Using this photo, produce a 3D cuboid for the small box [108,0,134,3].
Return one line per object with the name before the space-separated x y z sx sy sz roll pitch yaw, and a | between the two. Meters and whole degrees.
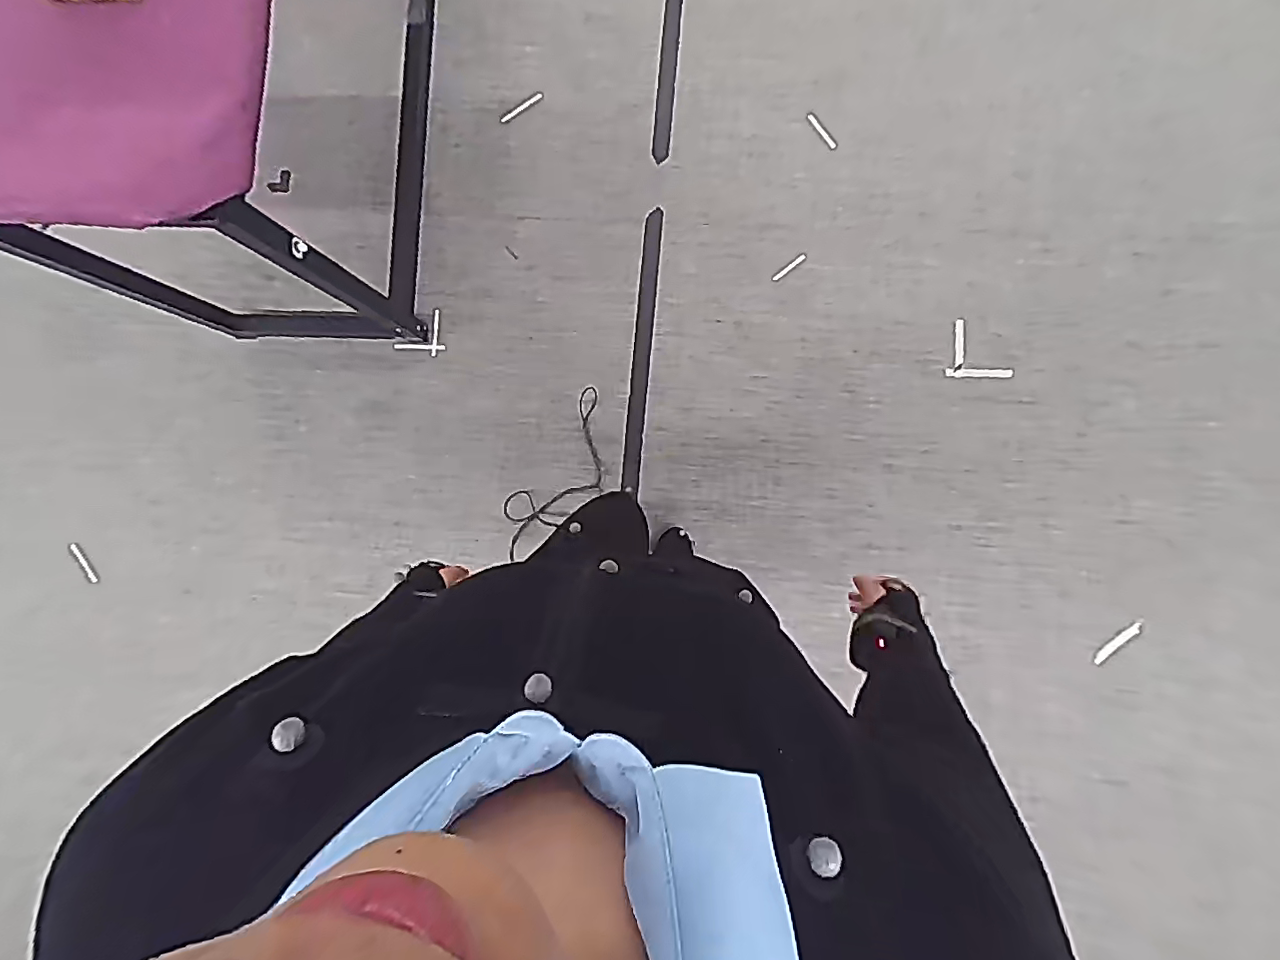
small box | -0.862 -0.850 0.779 0.168 0.176 0.179 5 88 5
